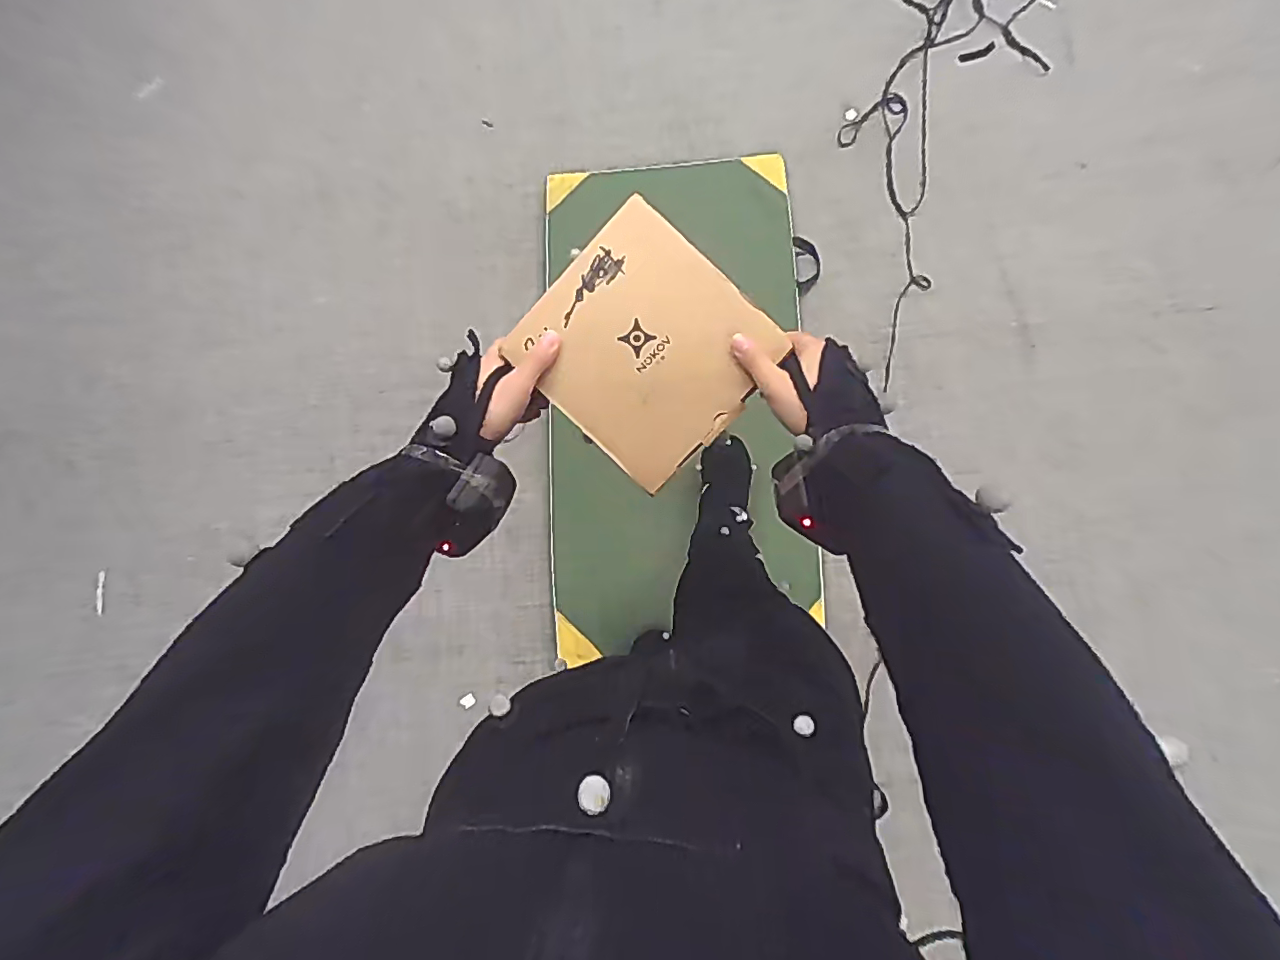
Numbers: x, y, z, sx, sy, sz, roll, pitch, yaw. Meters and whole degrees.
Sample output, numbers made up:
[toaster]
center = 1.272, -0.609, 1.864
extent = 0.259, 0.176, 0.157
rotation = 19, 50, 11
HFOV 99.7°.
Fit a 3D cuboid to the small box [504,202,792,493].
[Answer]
[small box]
center = 0.010, -0.110, 0.513
extent = 0.179, 0.176, 0.168
rotation = 44, 94, 0
